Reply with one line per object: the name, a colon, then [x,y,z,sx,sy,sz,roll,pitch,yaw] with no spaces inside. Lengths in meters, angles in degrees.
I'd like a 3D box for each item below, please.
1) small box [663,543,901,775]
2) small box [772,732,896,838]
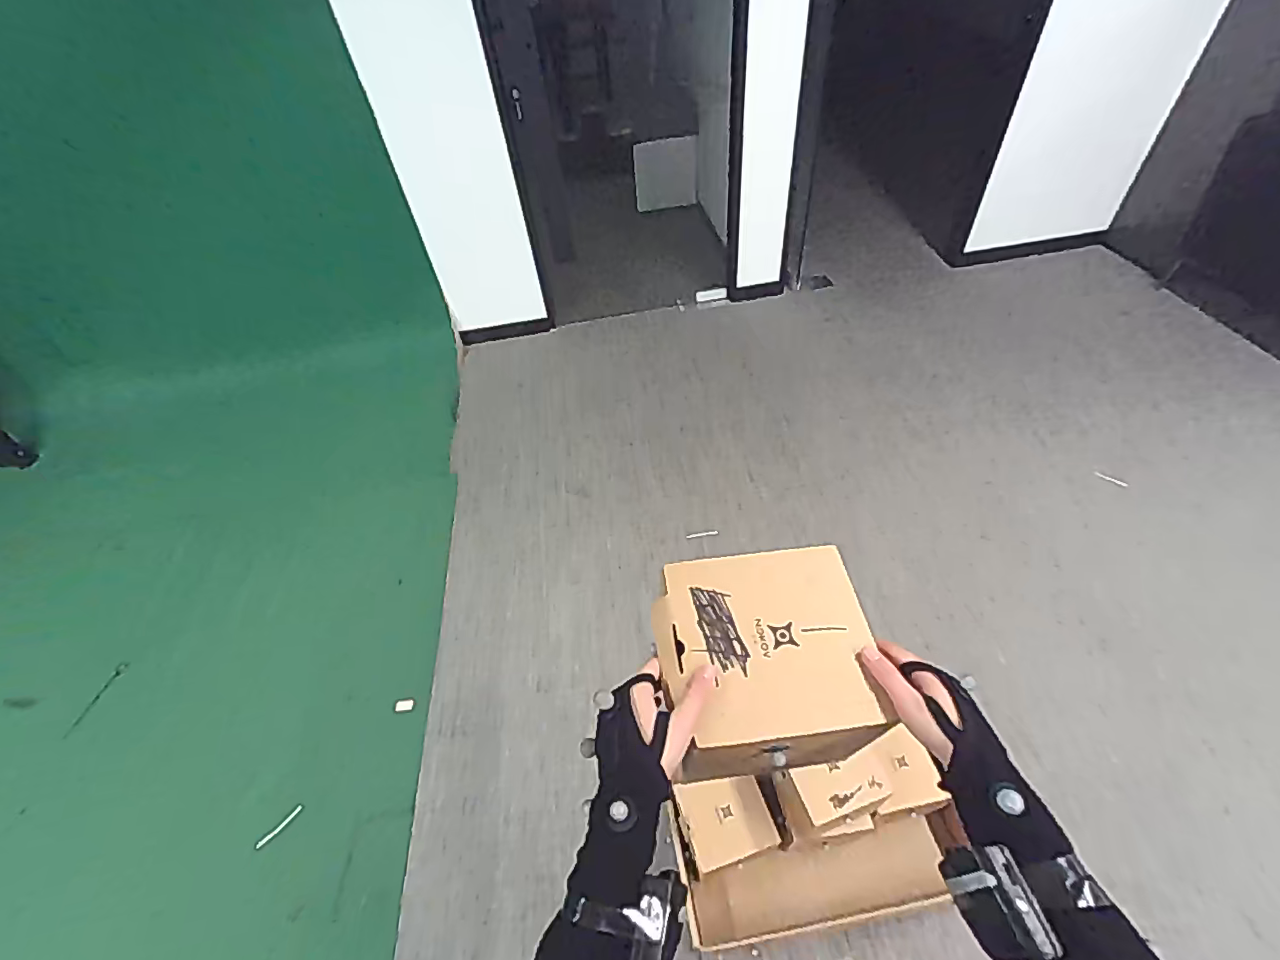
small box: [0.118,0.183,0.541,0.179,0.176,0.168,-6,53,-4]
small box: [0.368,0.577,1.078,0.168,0.176,0.179,-17,49,-8]
